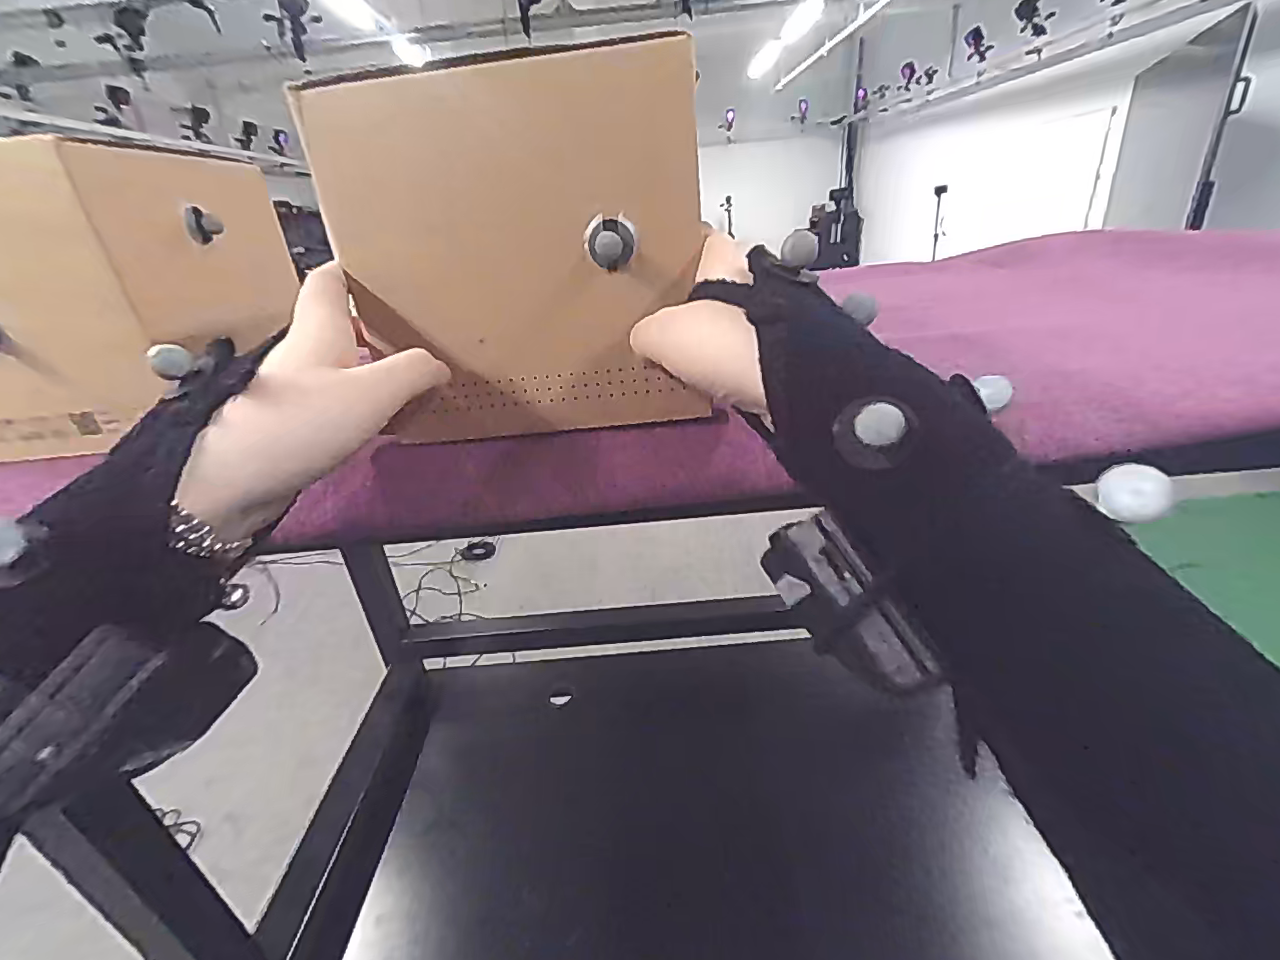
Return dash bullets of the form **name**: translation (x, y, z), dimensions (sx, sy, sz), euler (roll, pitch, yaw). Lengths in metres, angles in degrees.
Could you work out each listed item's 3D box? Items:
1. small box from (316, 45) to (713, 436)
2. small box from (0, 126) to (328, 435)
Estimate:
- **small box**: translation (-0.048, -0.136, 0.338), dimensions (0.179, 0.176, 0.168), euler (-5, 24, 3)
- **small box**: translation (-0.358, -0.135, 0.384), dimensions (0.168, 0.176, 0.179), euler (-4, 26, -1)
